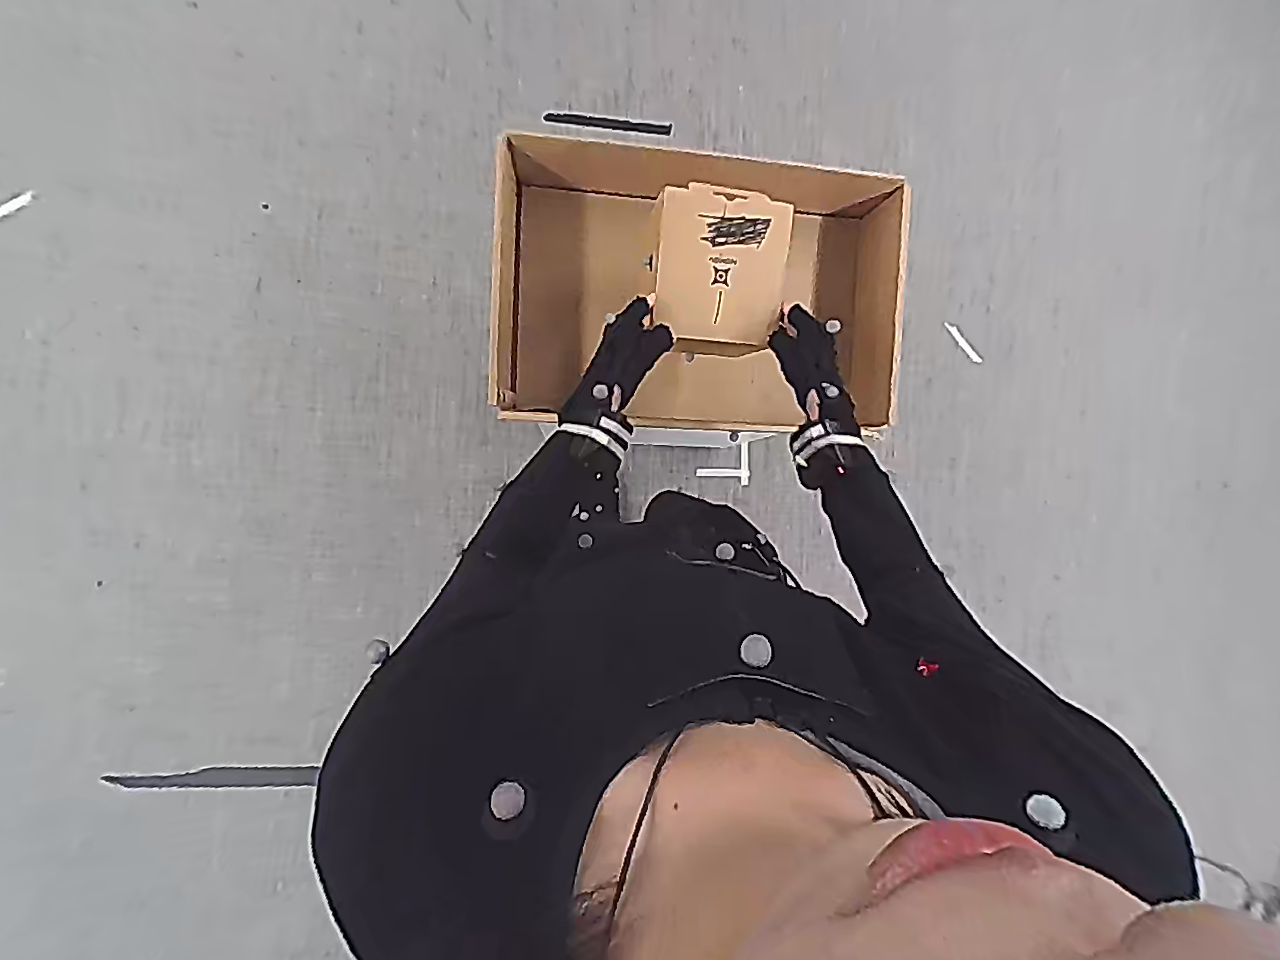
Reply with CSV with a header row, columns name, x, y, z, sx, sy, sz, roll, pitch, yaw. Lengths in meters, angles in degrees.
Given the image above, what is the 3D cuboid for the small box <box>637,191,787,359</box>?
name,x,y,z,sx,sy,sz,roll,pitch,yaw
small box,0.090,-0.273,0.760,0.168,0.176,0.179,3,97,-8
